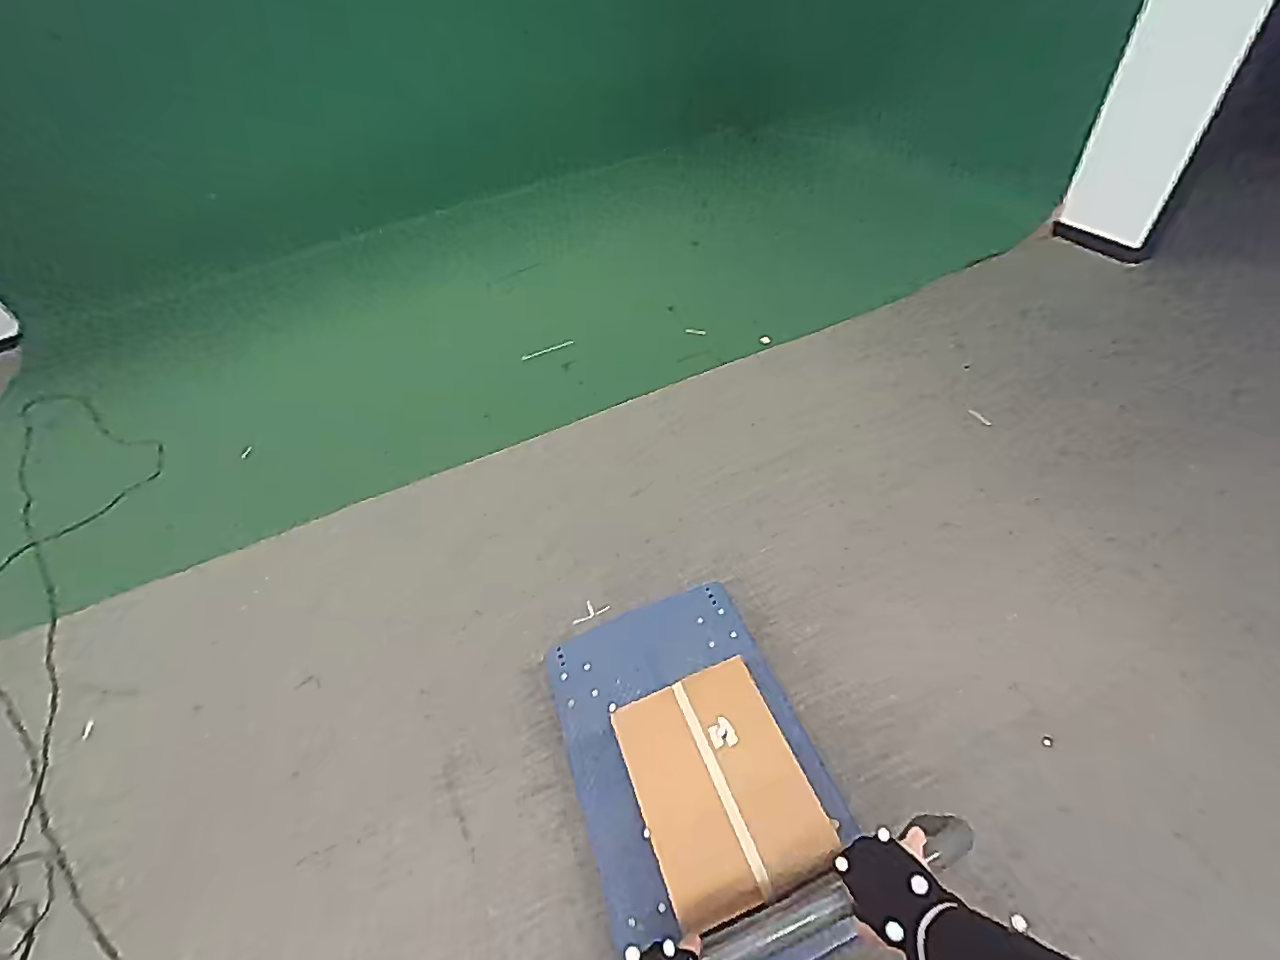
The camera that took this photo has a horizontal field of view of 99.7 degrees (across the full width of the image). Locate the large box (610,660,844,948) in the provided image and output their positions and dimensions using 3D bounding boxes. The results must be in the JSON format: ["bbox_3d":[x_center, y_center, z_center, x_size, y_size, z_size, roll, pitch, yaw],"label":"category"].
[{"bbox_3d":[0.170,0.679,1.152,0.320,0.320,0.408,-20,47,-9],"label":"large box"}]
